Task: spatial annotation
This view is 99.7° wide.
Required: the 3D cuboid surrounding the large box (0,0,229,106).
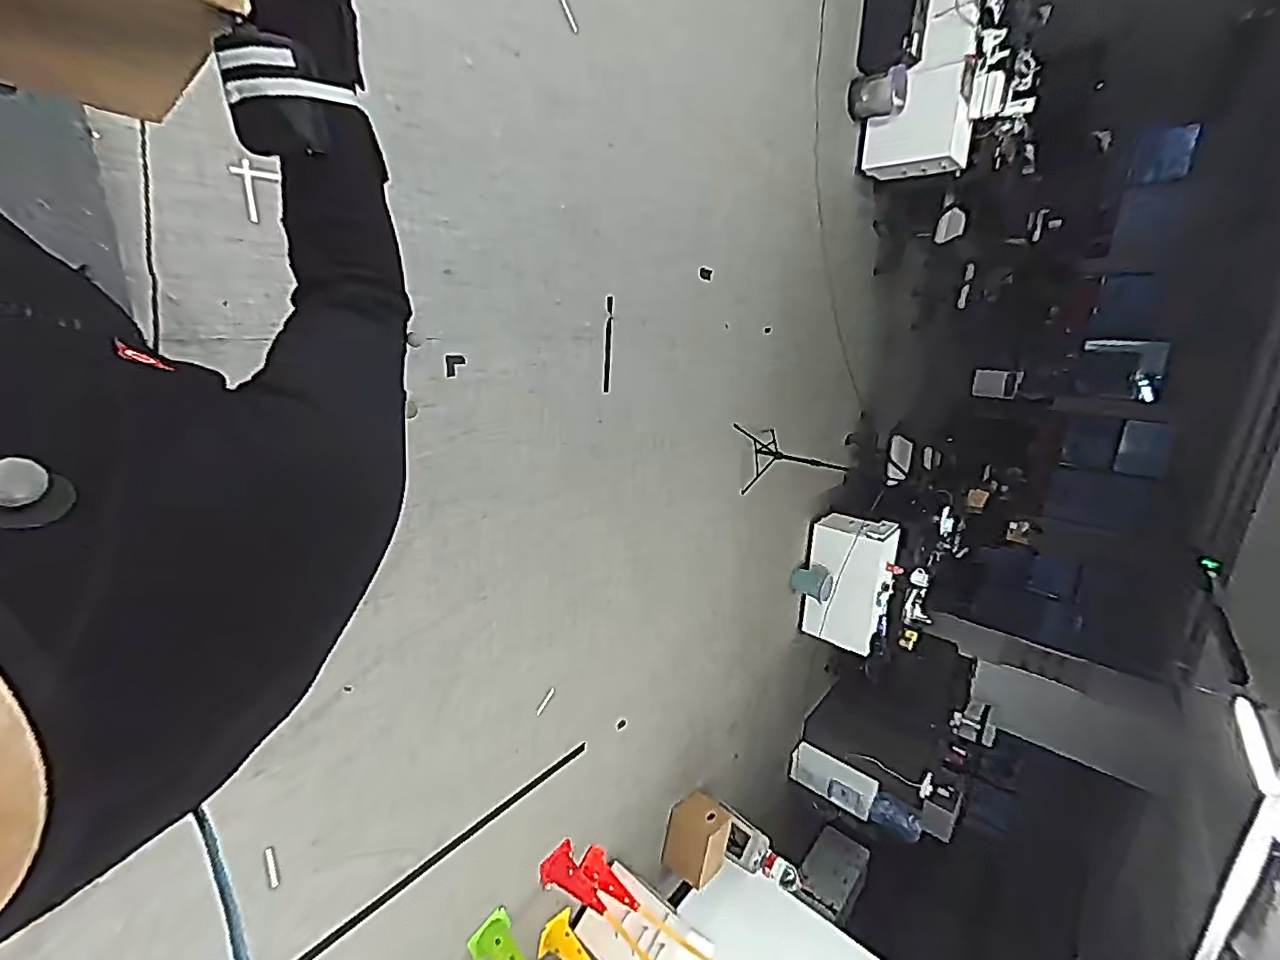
[{"bbox_3d":[-0.486,-0.445,0.251,0.408,0.320,0.320,-12,112,-47],"label":"large box"}]
